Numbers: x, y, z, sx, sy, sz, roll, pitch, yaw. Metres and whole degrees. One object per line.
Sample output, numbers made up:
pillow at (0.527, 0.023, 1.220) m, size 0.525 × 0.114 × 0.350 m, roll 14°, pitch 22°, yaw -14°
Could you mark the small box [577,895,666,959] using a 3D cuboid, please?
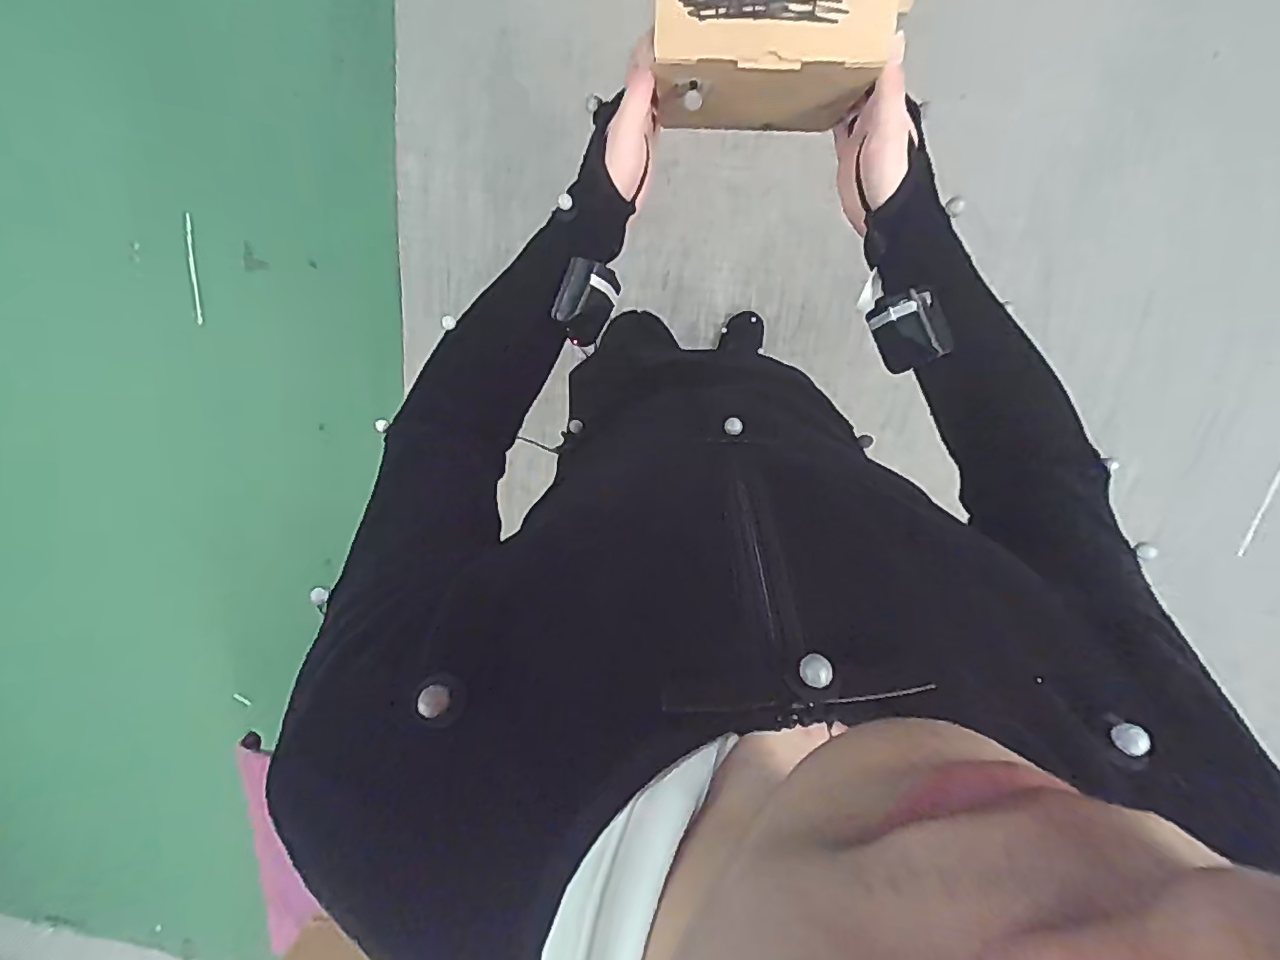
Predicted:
small box at (-0.047, 1.058, 1.184) m, size 0.179 × 0.176 × 0.168 m, roll 9°, pitch 109°, yaw 5°
